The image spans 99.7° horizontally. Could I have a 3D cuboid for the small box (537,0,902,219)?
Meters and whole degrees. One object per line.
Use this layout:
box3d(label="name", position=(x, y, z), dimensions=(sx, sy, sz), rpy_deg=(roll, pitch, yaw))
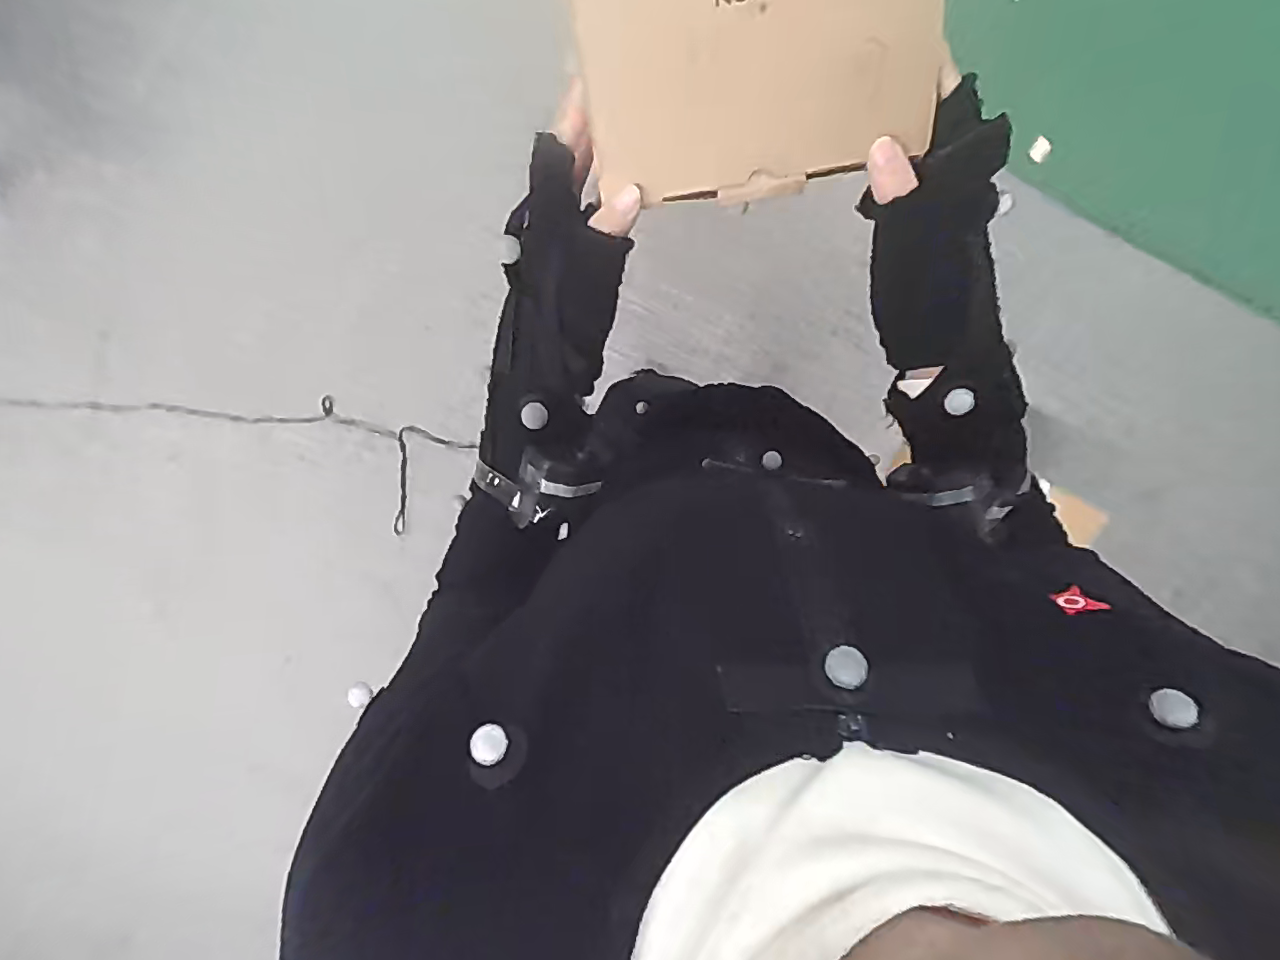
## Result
box3d(label="small box", position=(0.036, -0.264, 0.308), dimensions=(0.168, 0.176, 0.179), rpy_deg=(-8, 119, 5))
